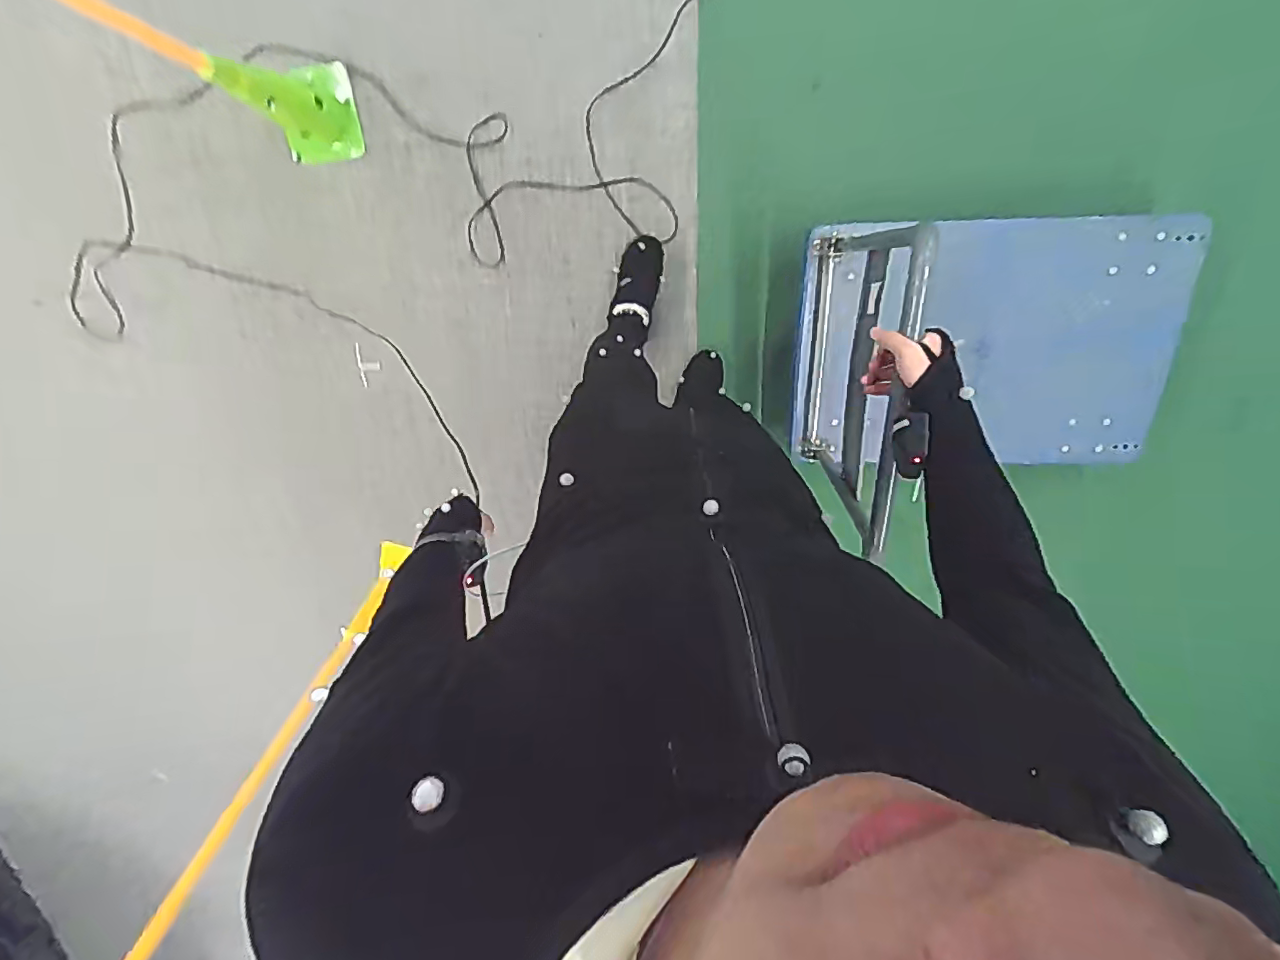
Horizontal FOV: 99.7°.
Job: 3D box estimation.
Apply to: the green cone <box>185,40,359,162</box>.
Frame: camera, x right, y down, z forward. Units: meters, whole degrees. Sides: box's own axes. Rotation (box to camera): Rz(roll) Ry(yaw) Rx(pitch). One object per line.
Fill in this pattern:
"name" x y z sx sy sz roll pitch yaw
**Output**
"green cone" -0.824 -0.861 1.189 0.200 0.368 0.202 -4 109 6
